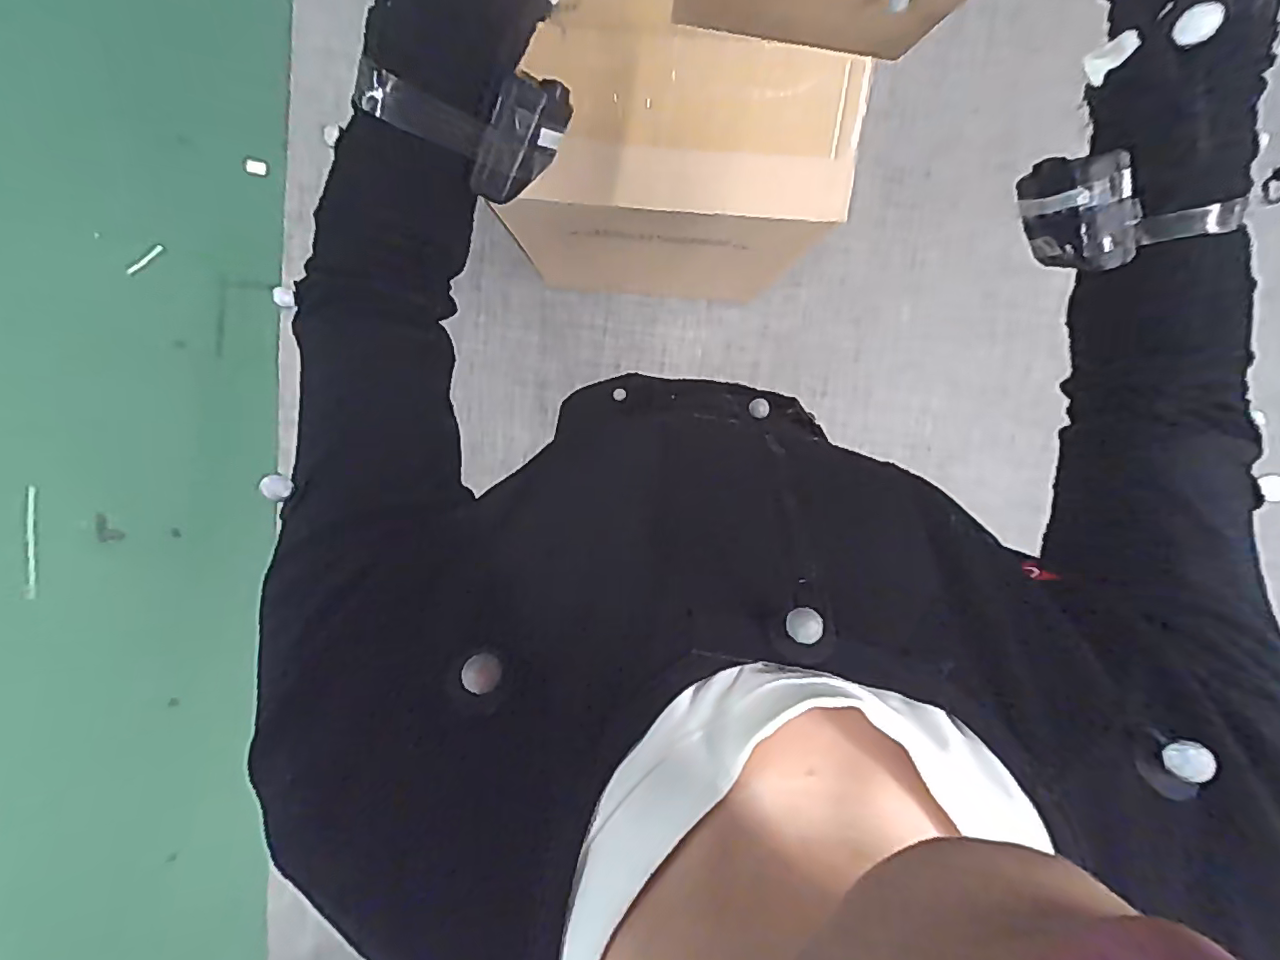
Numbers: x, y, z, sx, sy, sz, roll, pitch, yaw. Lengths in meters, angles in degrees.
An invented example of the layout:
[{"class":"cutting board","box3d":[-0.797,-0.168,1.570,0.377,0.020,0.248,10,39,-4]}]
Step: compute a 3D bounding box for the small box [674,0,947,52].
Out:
[{"class":"small box","box3d":[0.120,-0.380,0.304,0.179,0.176,0.168,4,104,-3]}]
